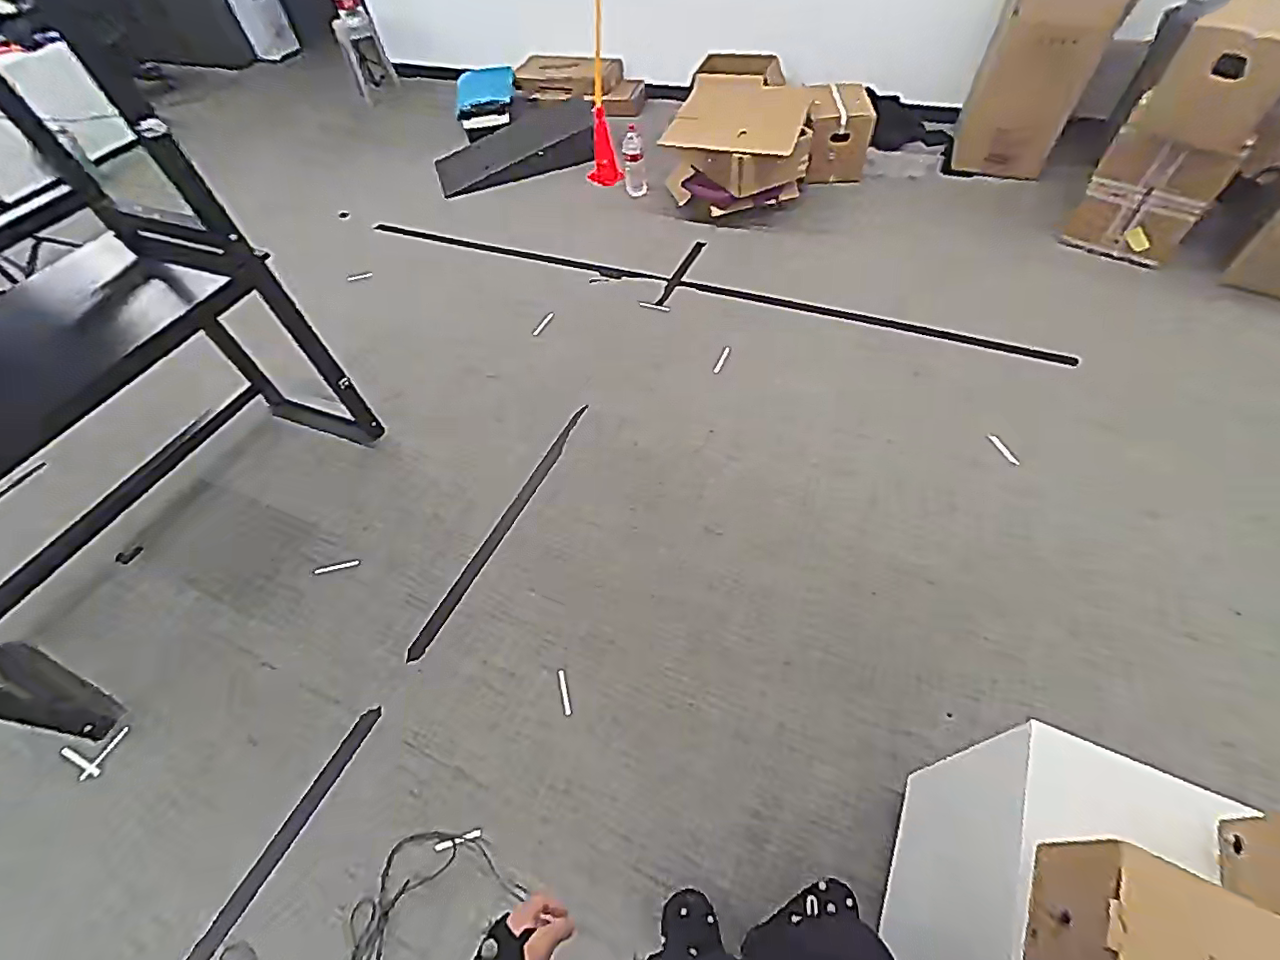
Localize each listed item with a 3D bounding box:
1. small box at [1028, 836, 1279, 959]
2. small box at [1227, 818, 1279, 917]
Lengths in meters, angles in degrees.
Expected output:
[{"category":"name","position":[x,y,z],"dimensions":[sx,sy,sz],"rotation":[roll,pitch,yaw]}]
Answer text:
[{"category":"small box","position":[0.545,0.514,0.568],"dimensions":[0.179,0.176,0.168],"rotation":[22,59,20]},{"category":"small box","position":[0.779,0.482,0.568],"dimensions":[0.179,0.176,0.168],"rotation":[21,59,19]}]
